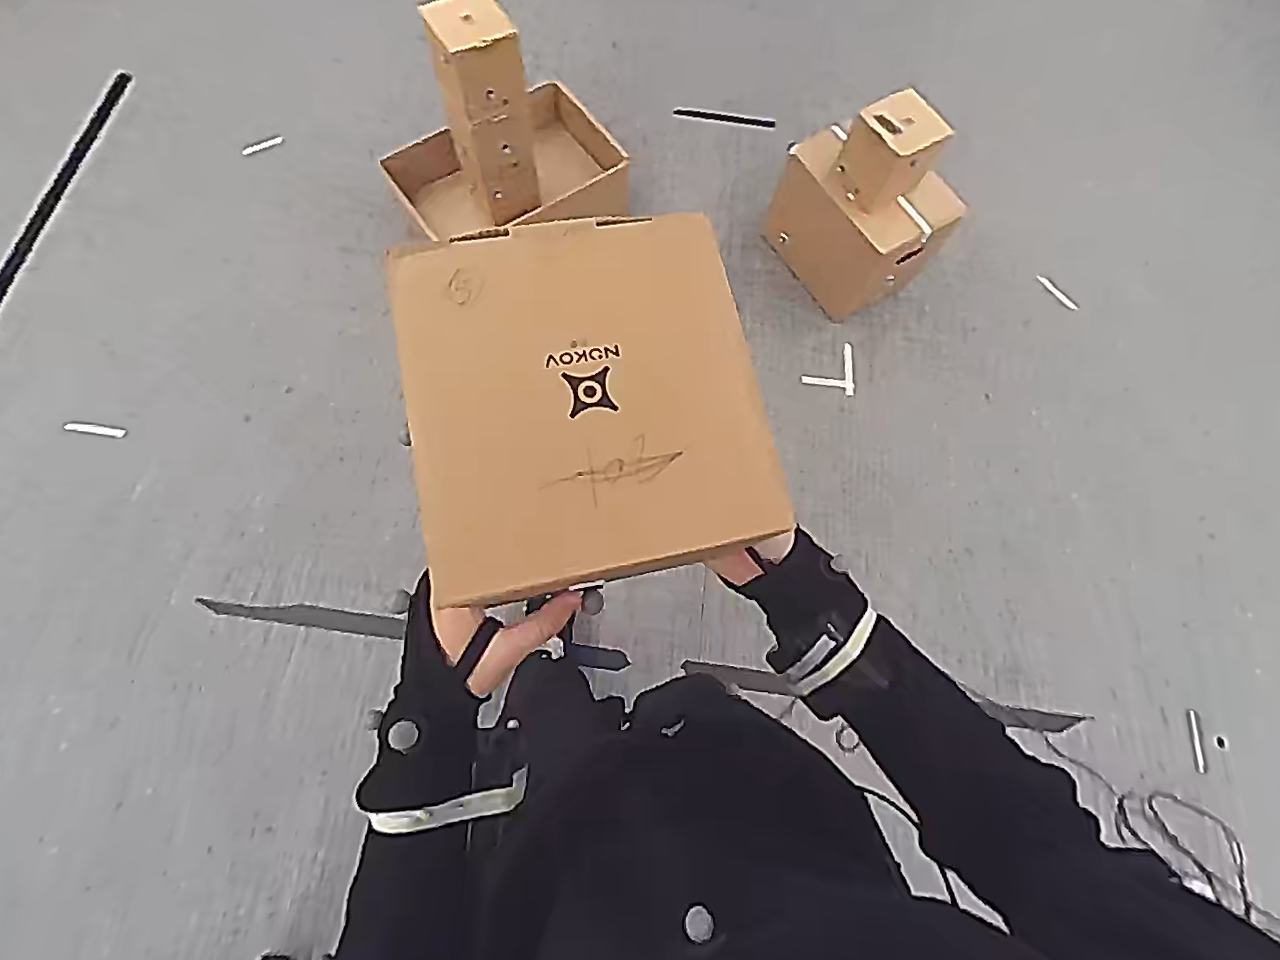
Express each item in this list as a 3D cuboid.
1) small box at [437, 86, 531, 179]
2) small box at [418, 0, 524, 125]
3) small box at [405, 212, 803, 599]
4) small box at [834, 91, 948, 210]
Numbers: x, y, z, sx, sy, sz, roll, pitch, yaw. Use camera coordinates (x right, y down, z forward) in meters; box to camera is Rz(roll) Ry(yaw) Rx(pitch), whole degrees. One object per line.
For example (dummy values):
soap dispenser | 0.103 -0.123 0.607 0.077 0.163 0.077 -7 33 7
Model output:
small box | -0.408 -0.940 1.443 0.168 0.176 0.179 -31 77 -13
small box | -0.396 -1.002 1.292 0.168 0.176 0.179 -32 76 -14
small box | -0.029 -0.029 0.336 0.168 0.176 0.179 -11 79 -10
small box | 0.620 -0.826 1.370 0.179 0.176 0.168 -30 77 -13
